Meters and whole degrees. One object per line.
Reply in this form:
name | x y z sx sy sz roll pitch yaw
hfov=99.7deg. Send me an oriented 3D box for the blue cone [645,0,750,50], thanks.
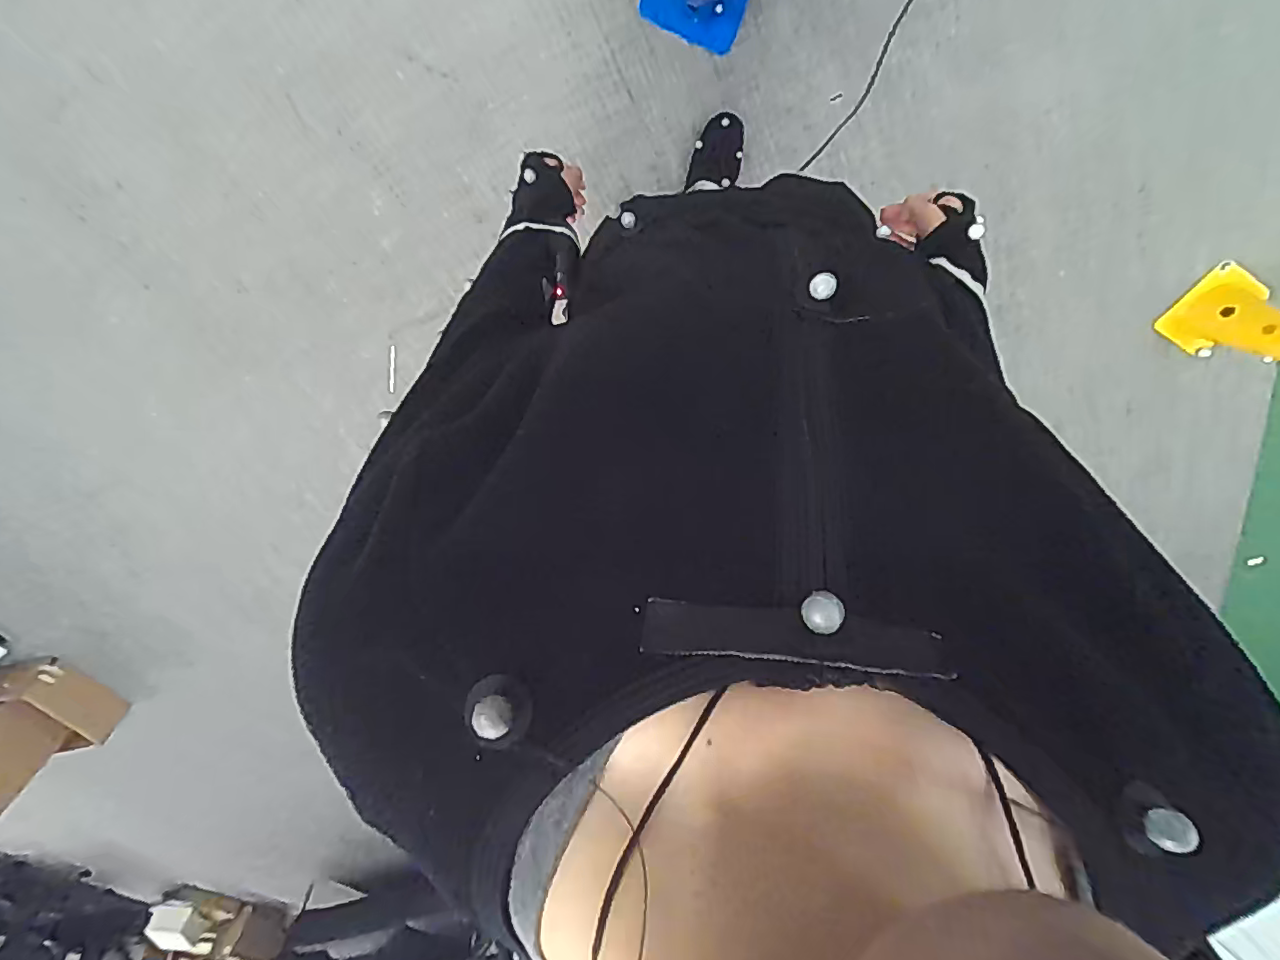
blue cone | 0.111 -0.833 0.872 0.193 0.380 0.192 16 126 -9
